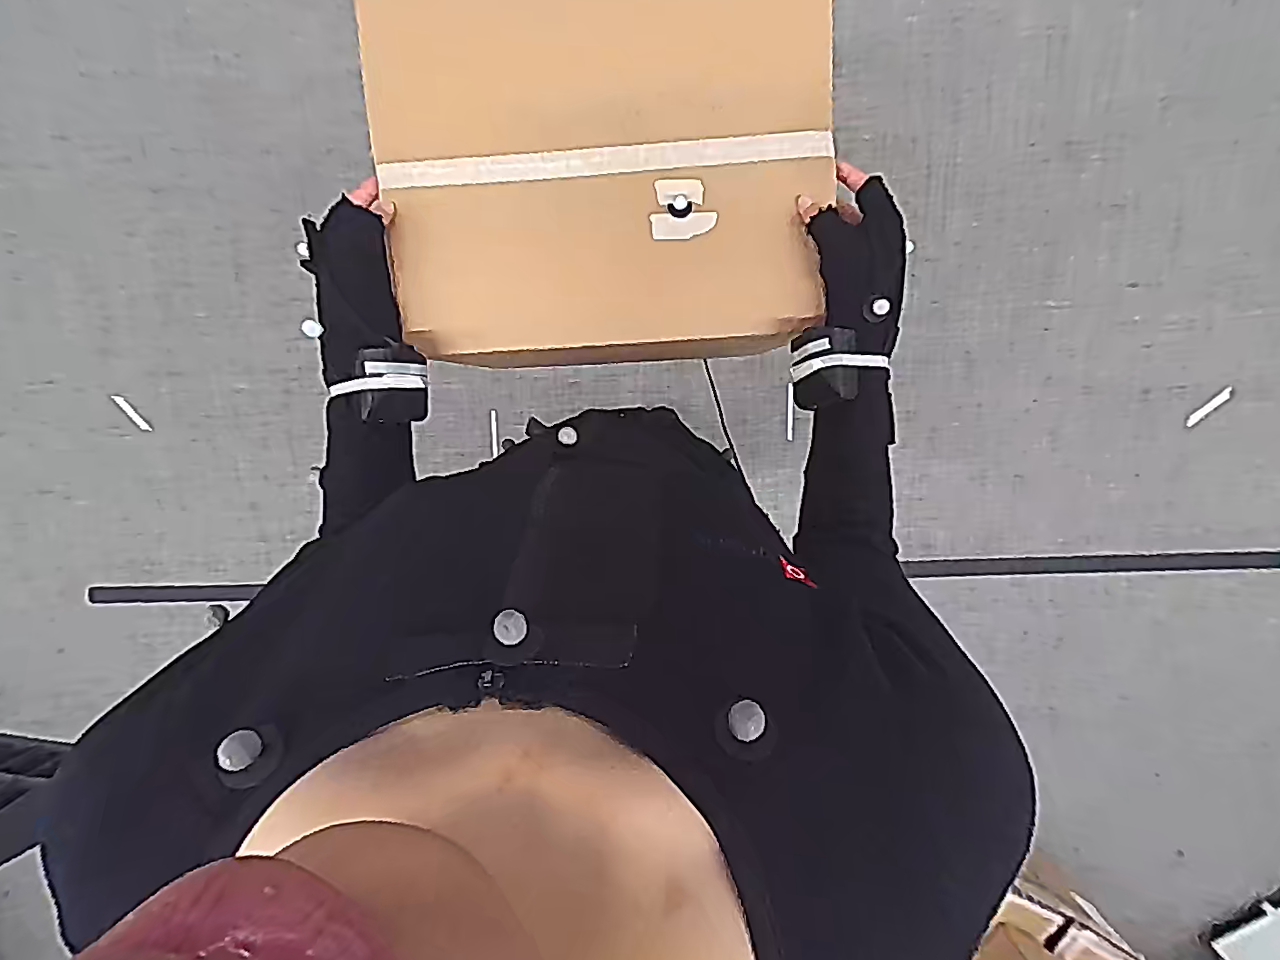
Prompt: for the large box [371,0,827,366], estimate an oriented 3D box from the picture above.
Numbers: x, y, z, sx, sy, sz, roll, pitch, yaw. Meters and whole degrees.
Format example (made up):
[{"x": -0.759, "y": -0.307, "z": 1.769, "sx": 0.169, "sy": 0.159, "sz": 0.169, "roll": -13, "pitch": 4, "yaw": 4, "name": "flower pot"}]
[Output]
[{"x": -0.031, "y": -0.313, "z": 0.640, "sx": 0.408, "sy": 0.320, "sz": 0.320, "roll": -3, "pitch": 99, "yaw": 1, "name": "large box"}]
